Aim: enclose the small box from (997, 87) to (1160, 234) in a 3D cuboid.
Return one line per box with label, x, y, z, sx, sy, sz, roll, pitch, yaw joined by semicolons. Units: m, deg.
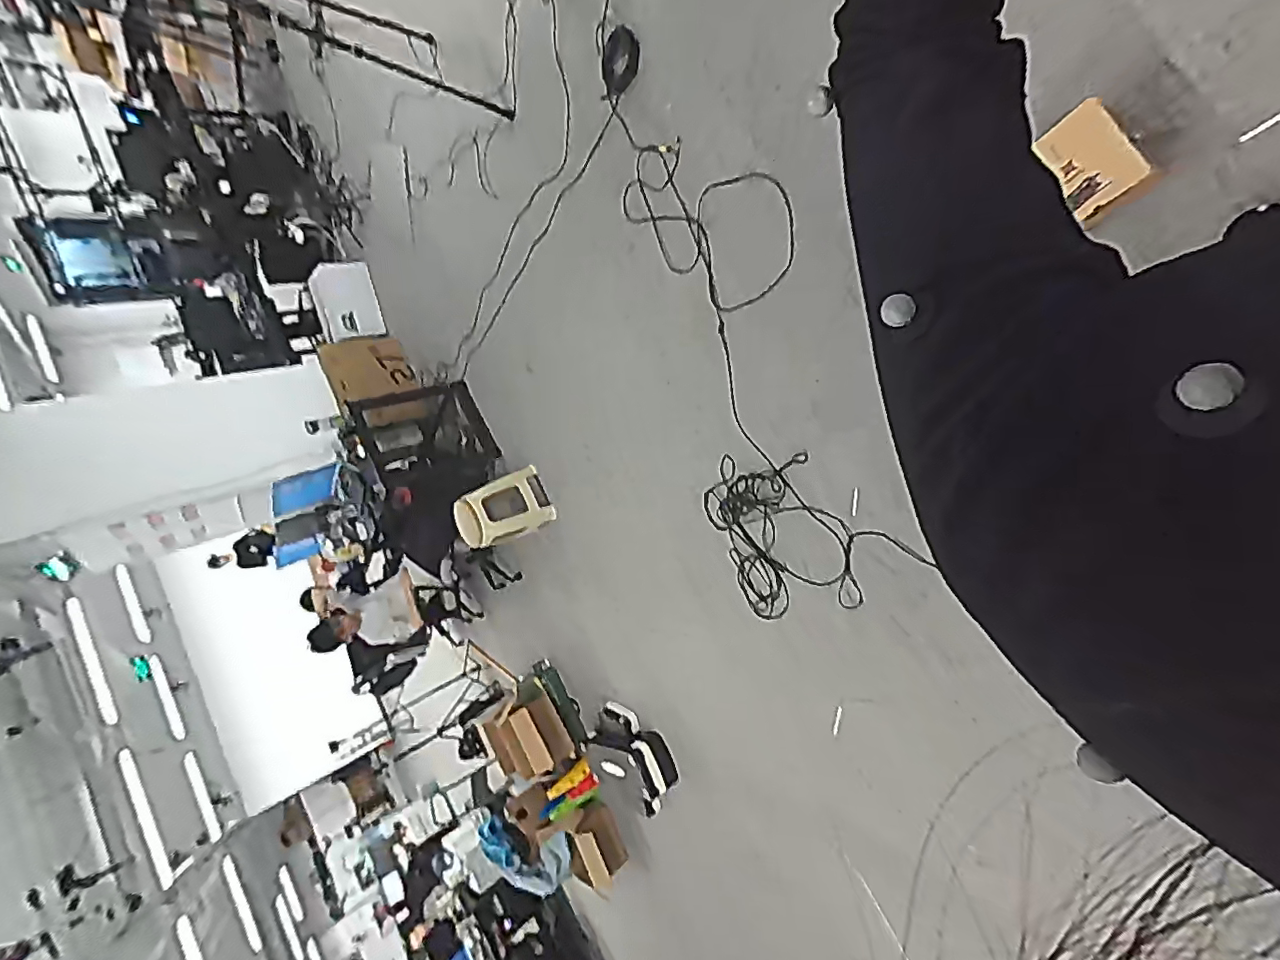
small box;0.837;-0.600;1.031;0.168;0.176;0.179;-40;75;51
